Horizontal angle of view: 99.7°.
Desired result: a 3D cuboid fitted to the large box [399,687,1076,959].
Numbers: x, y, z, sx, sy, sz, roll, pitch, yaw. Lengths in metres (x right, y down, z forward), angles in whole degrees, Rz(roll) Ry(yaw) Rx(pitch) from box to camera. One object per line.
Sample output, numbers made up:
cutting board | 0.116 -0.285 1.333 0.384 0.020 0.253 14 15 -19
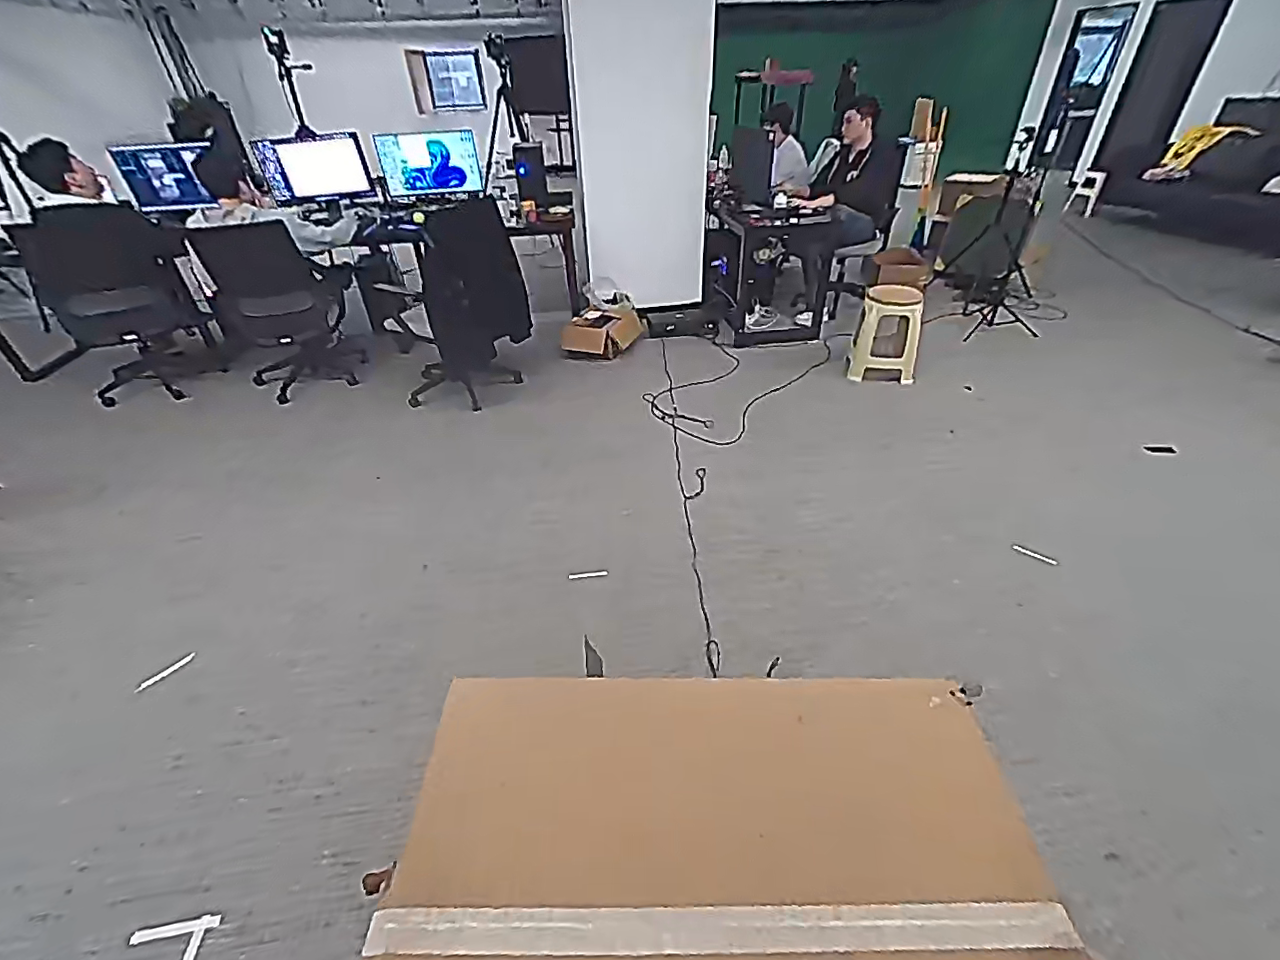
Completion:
large box | 0.053 0.384 0.422 0.408 0.320 0.320 0 43 -1
